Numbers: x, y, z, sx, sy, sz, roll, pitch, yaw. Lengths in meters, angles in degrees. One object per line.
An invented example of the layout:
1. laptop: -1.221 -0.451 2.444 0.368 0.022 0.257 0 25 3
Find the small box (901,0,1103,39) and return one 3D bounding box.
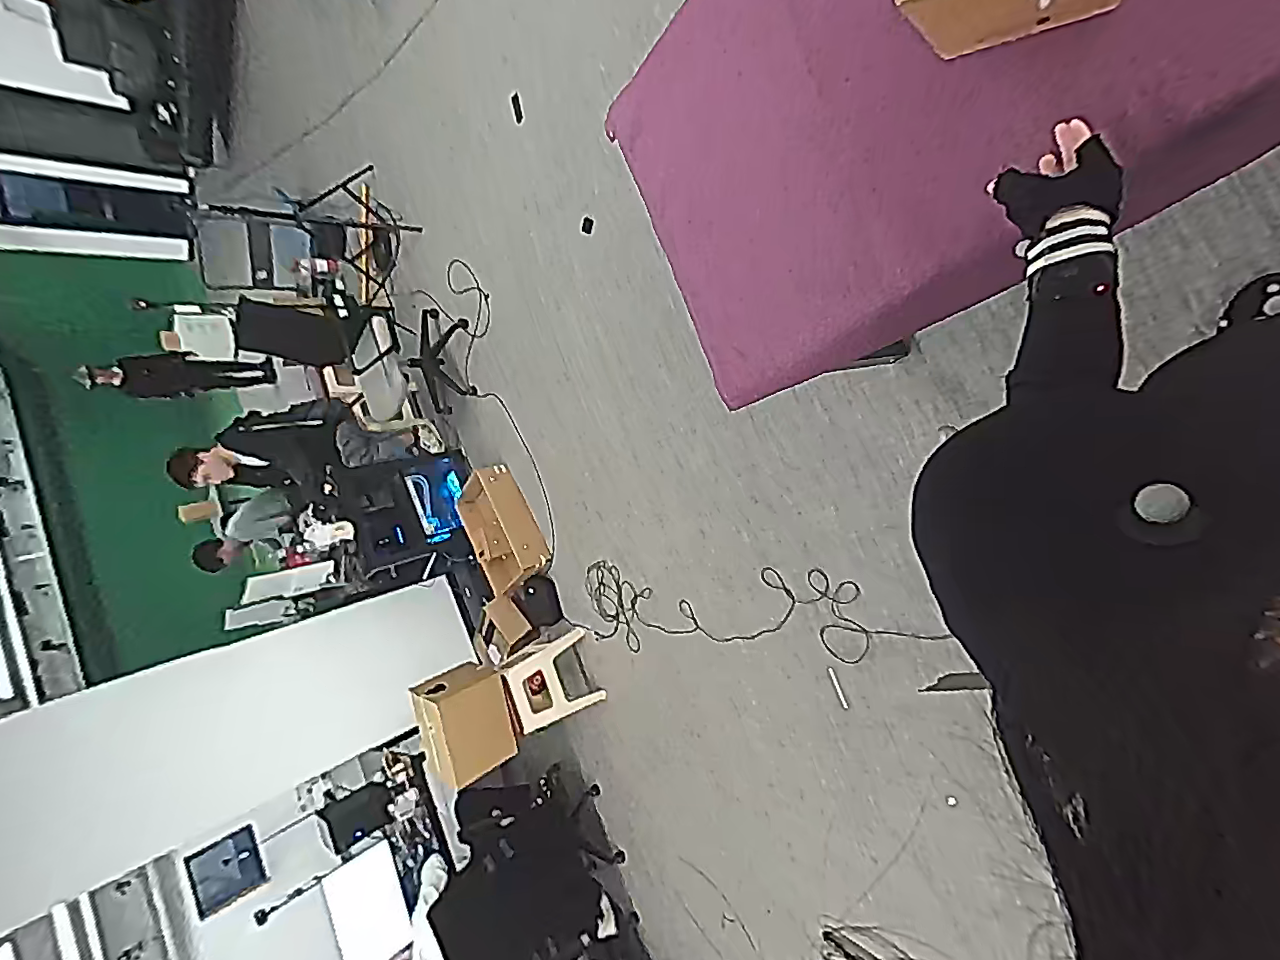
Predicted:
1. small box: 0.374 -0.567 0.519 0.168 0.176 0.179 15 111 43
